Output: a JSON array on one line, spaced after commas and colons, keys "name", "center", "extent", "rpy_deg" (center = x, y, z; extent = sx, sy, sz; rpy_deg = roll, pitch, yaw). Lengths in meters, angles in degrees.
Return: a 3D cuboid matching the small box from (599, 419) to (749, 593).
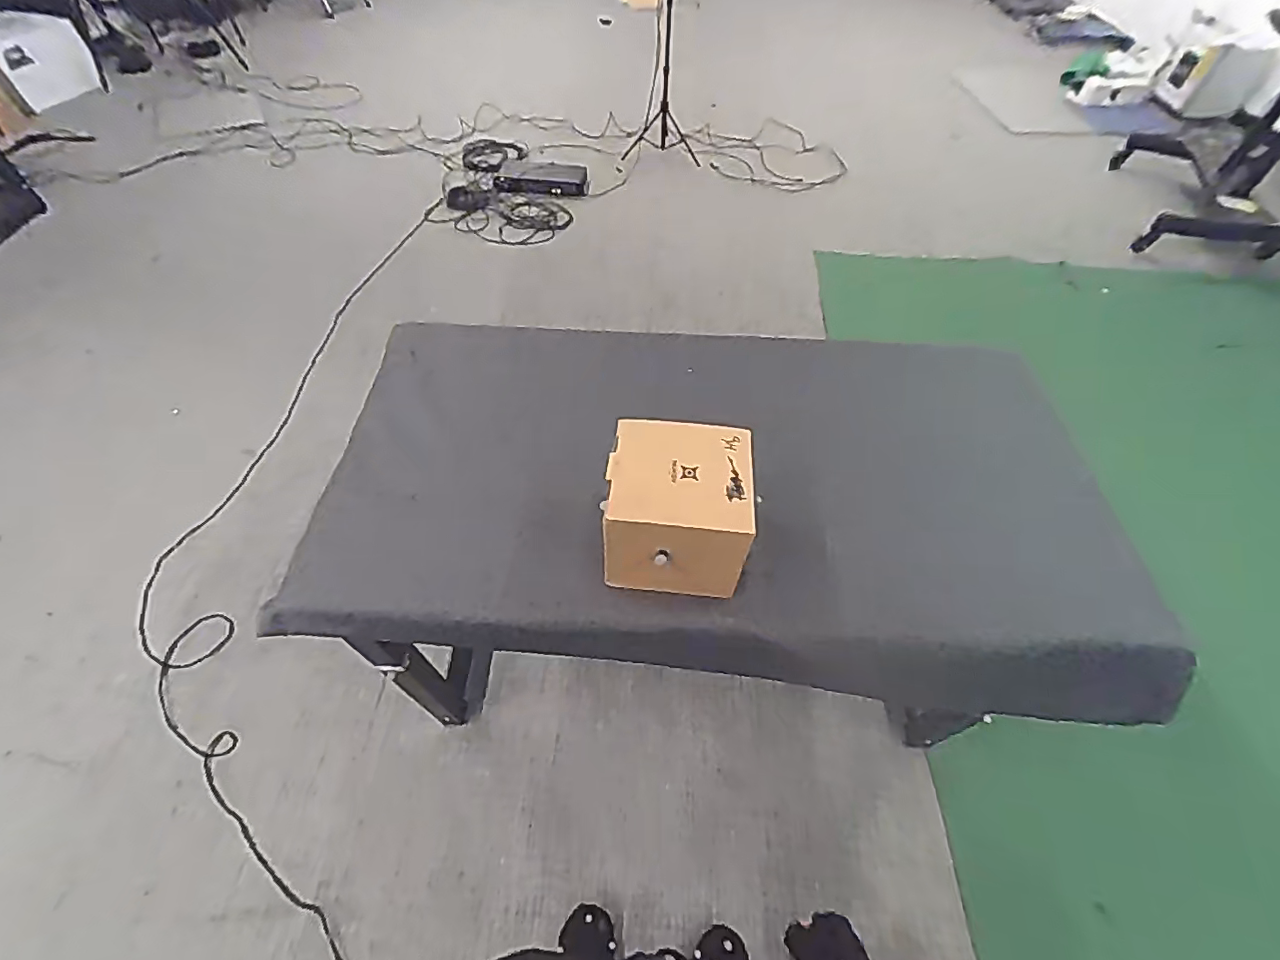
[{"name": "small box", "center": [0.045, 0.039, 0.730], "extent": [0.179, 0.176, 0.168], "rpy_deg": [6, 52, 2]}]
